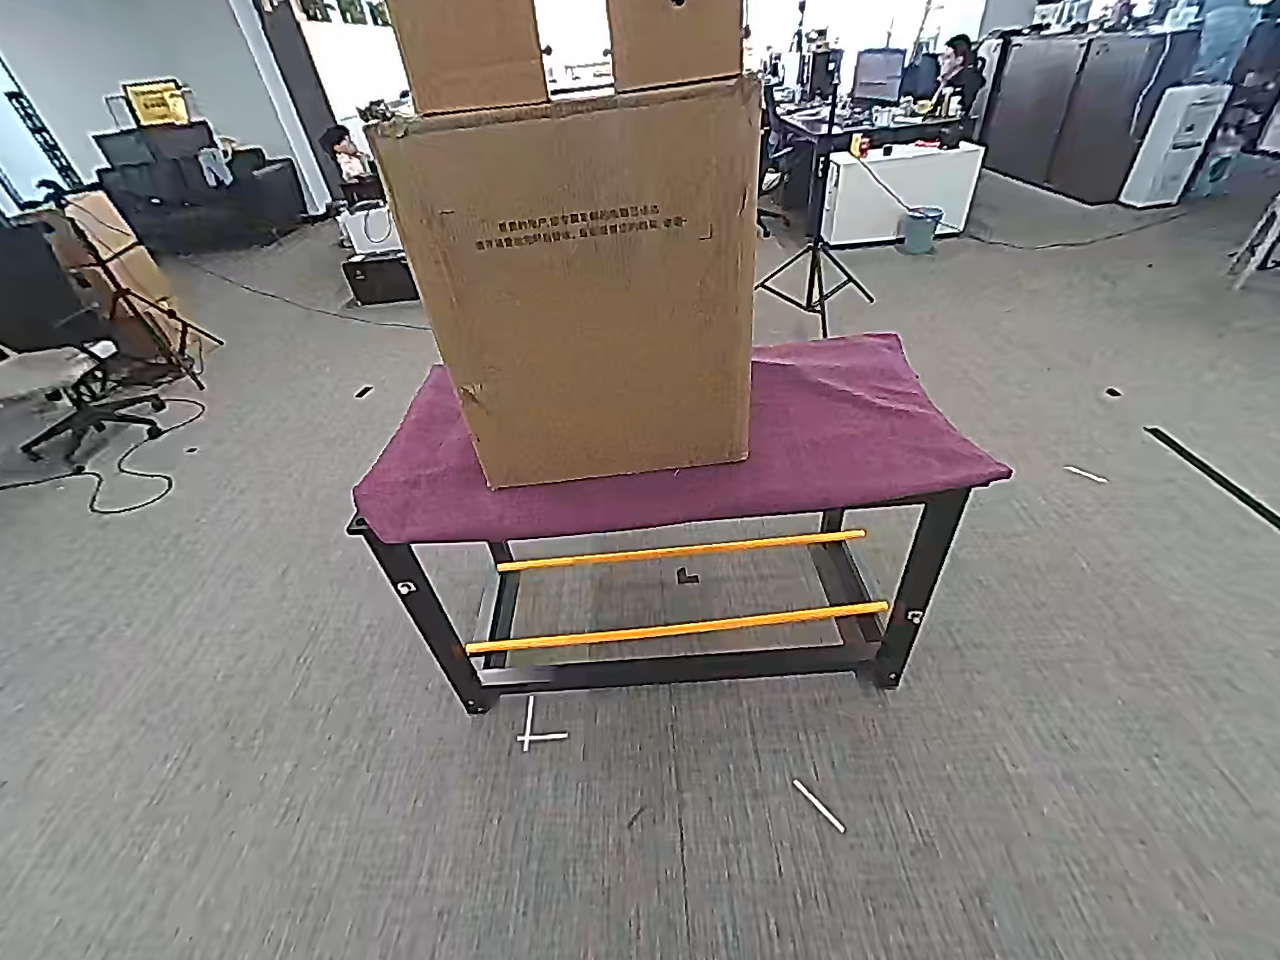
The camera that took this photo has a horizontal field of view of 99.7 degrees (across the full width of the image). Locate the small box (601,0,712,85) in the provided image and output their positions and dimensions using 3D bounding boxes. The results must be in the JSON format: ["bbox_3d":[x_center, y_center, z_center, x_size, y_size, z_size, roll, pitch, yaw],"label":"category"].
[{"bbox_3d":[0.025,-0.751,0.874,0.168,0.176,0.179,-6,39,3],"label":"small box"}]
